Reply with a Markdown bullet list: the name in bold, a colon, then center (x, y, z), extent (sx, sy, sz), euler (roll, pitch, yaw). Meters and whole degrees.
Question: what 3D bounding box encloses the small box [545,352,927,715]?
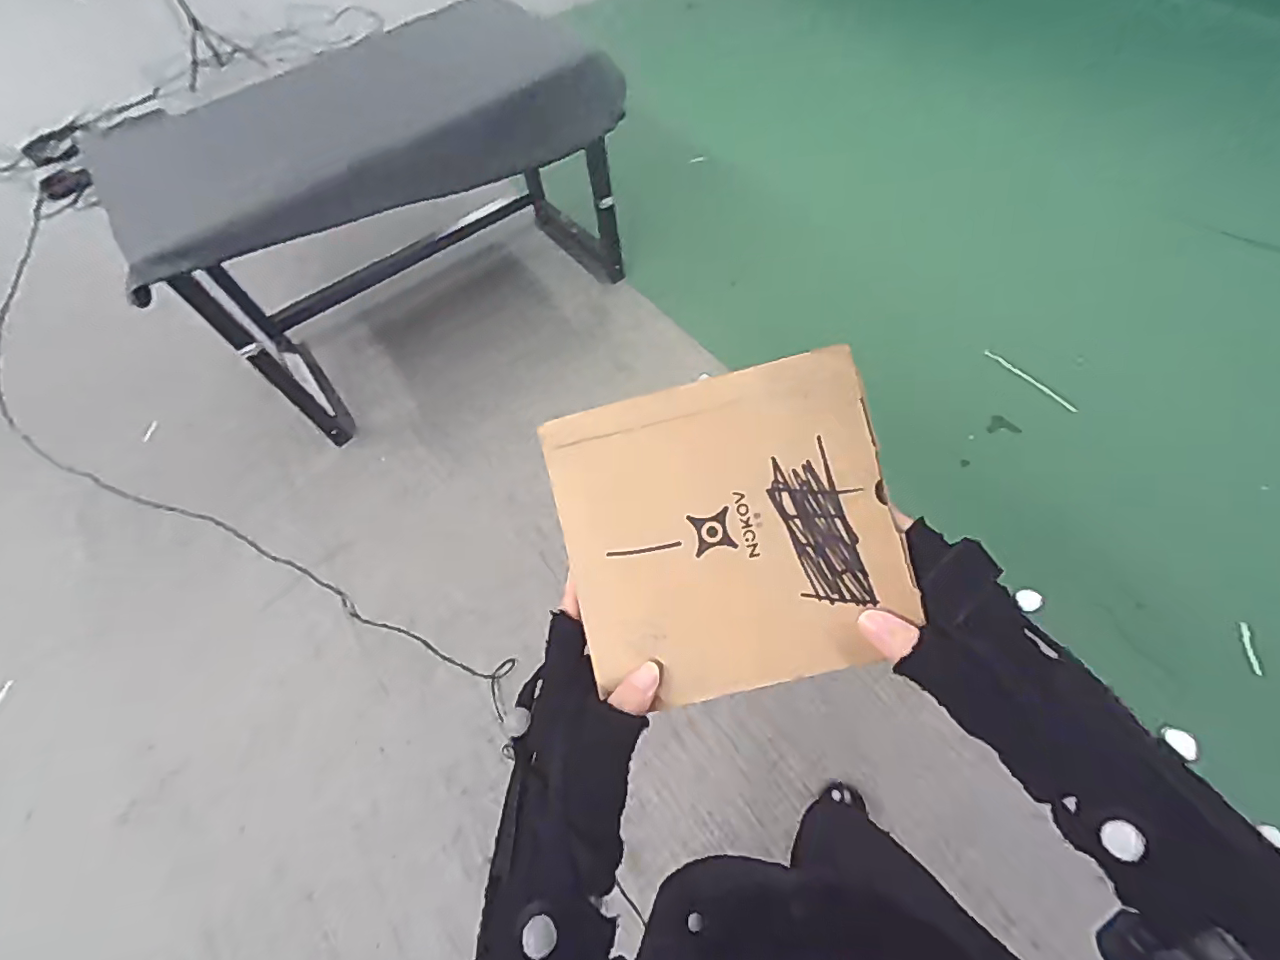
- **small box**: center (0.053, 0.033, 0.369), extent (0.179, 0.176, 0.168), euler (-14, 84, 3)
